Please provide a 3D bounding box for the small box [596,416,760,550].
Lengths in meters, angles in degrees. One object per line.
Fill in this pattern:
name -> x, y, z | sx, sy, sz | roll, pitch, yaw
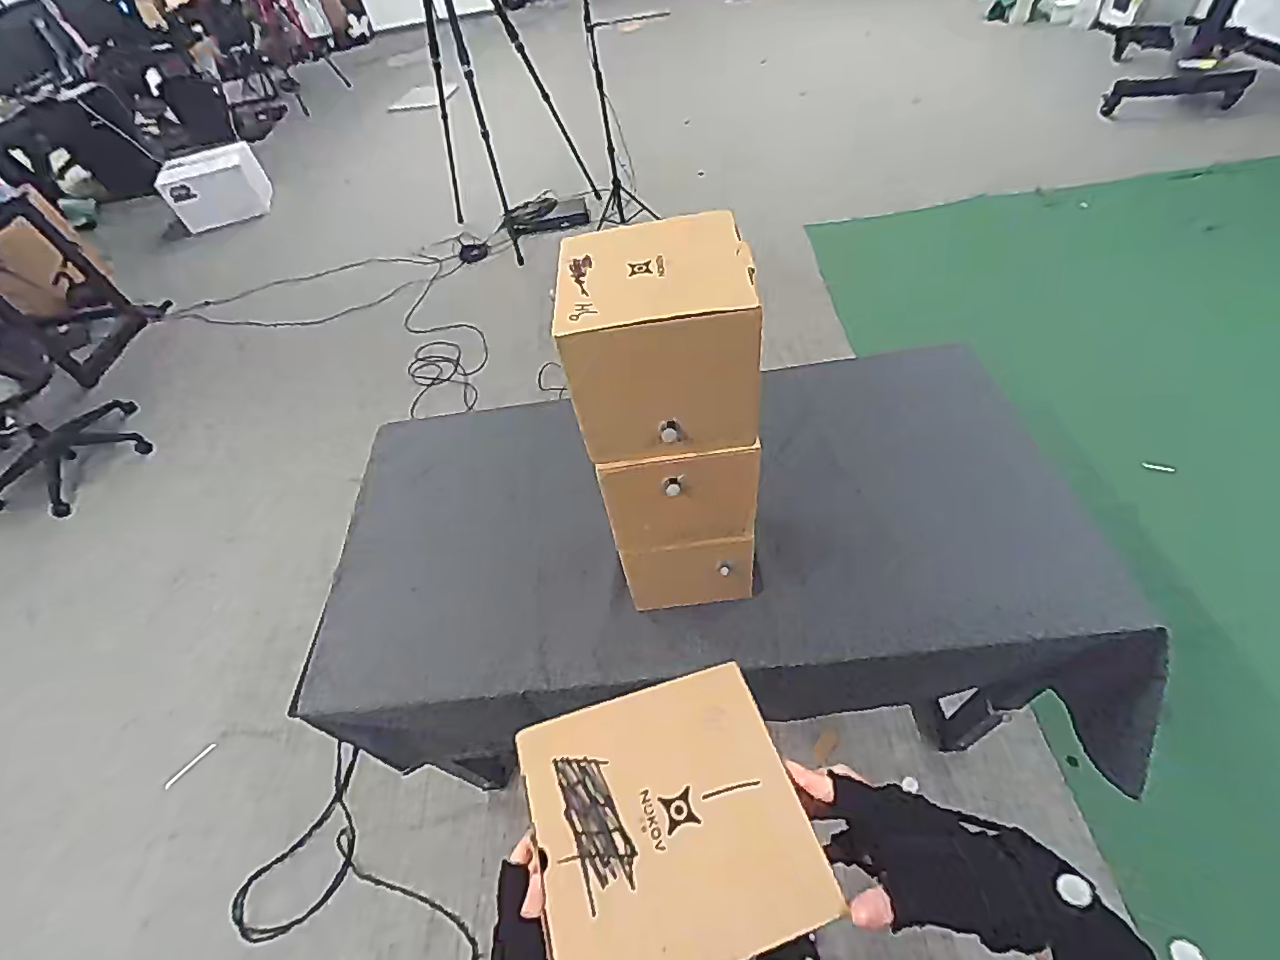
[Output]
small box -> 0.044, -0.029, 0.679 | 0.179, 0.176, 0.168 | -8, 50, 4

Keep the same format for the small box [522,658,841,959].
small box -> 0.019, 0.269, 0.417 | 0.179, 0.176, 0.168 | -12, 48, -12

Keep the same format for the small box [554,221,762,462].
small box -> 0.020, -0.136, 0.557 | 0.179, 0.176, 0.168 | -6, 50, 4
